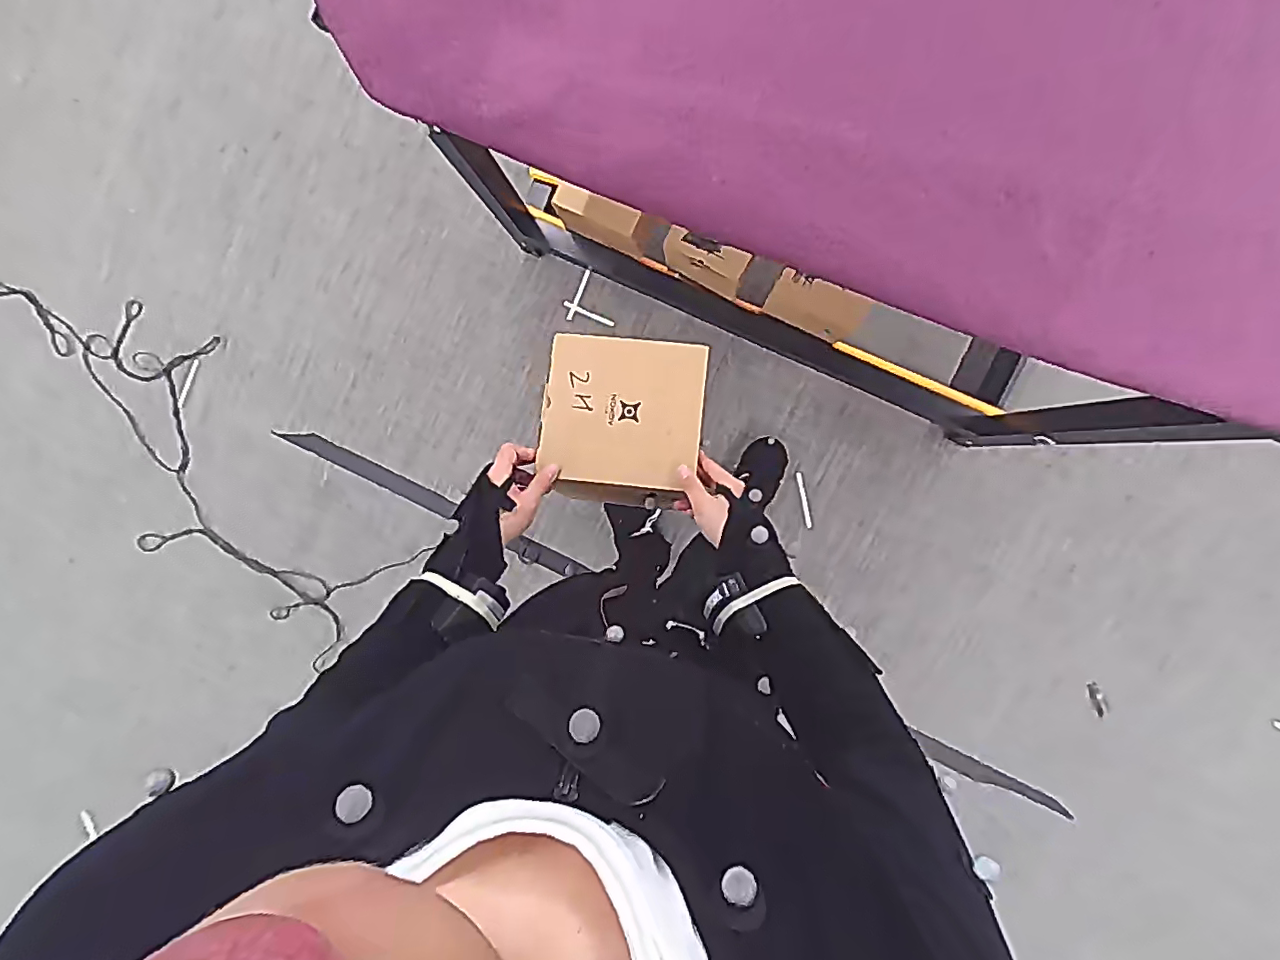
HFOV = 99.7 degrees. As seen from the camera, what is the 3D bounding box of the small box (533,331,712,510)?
[{"bbox_3d":[-0.014,-0.061,0.655,0.179,0.176,0.168,6,79,4],"label":"small box"}]
